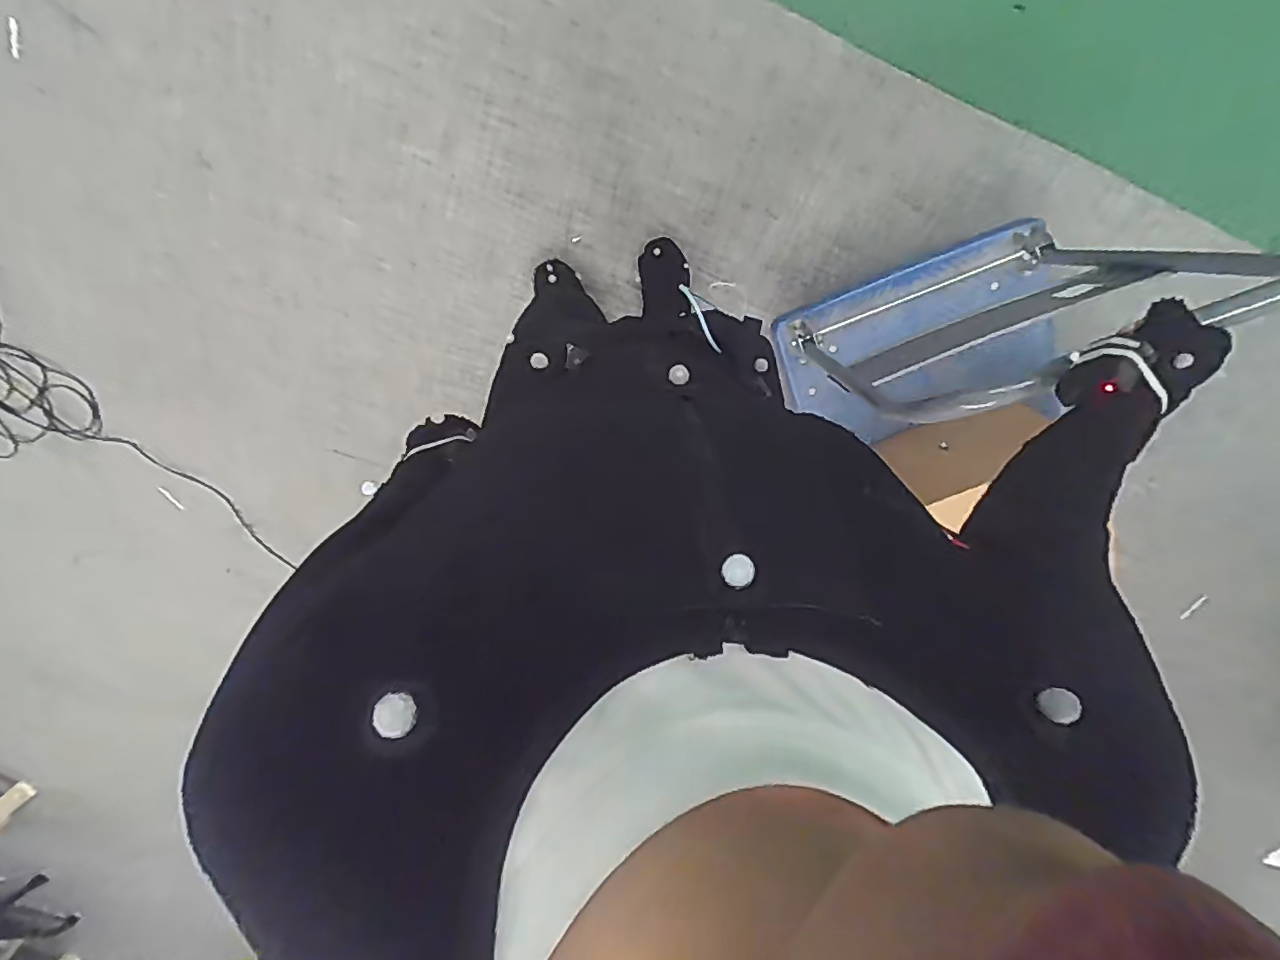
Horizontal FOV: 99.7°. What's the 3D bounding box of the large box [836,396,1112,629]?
[{"bbox_3d":[0.725,0.063,1.226,0.408,0.320,0.320,-24,114,11],"label":"large box"}]
